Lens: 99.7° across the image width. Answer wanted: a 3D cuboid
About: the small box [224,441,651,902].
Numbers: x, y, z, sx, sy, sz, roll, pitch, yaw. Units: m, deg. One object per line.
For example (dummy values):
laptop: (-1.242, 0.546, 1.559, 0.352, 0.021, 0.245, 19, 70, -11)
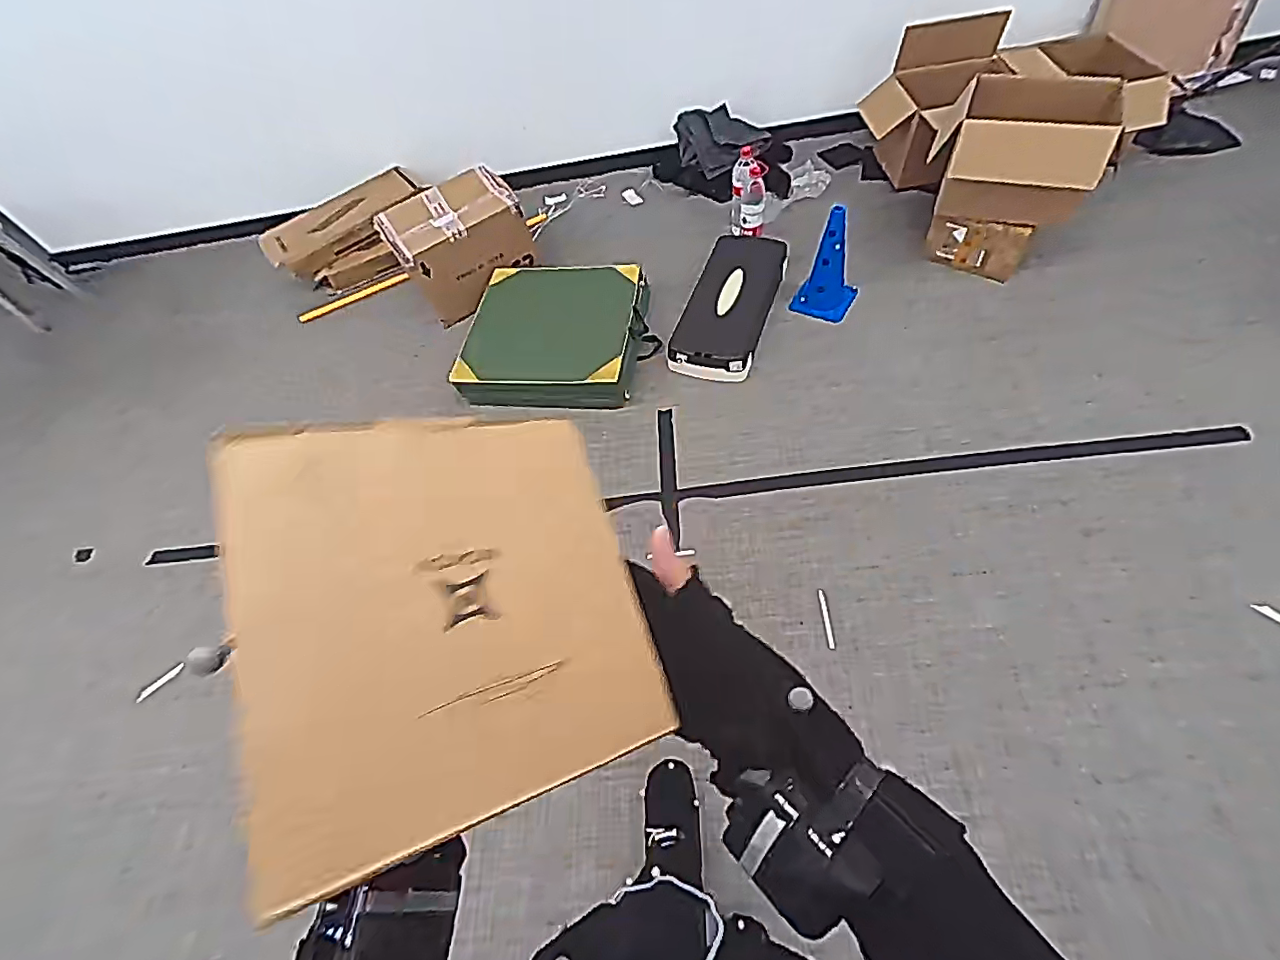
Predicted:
small box: (-0.125, 0.097, 0.312, 0.168, 0.176, 0.179, -7, 67, -33)
